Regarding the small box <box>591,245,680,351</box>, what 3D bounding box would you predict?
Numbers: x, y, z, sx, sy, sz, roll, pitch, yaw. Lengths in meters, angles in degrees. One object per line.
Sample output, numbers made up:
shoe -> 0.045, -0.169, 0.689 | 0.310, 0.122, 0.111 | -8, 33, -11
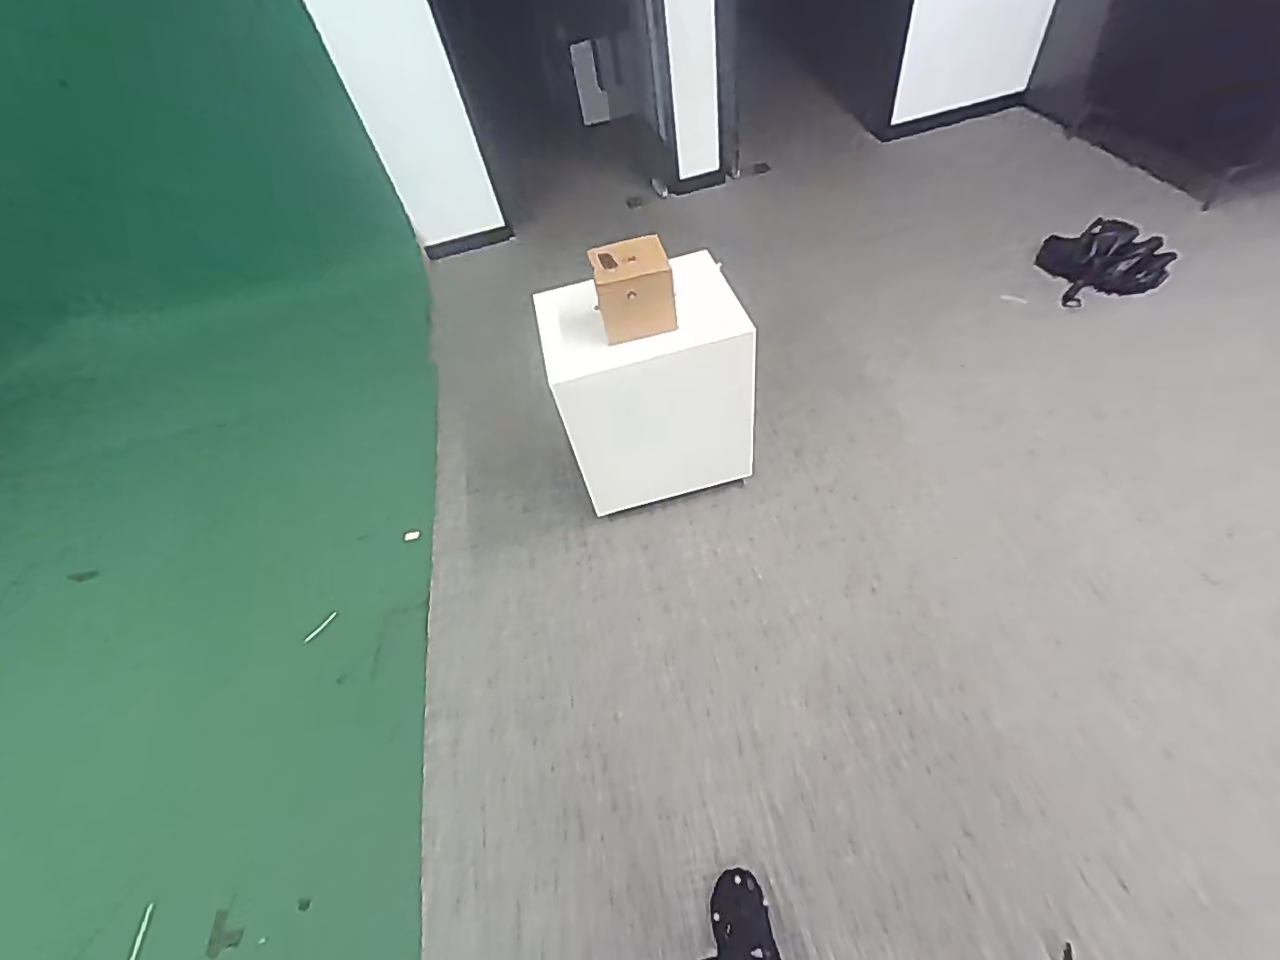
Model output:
small box -> -0.009, -0.439, 1.321 | 0.179, 0.176, 0.168 | -13, 50, 0
